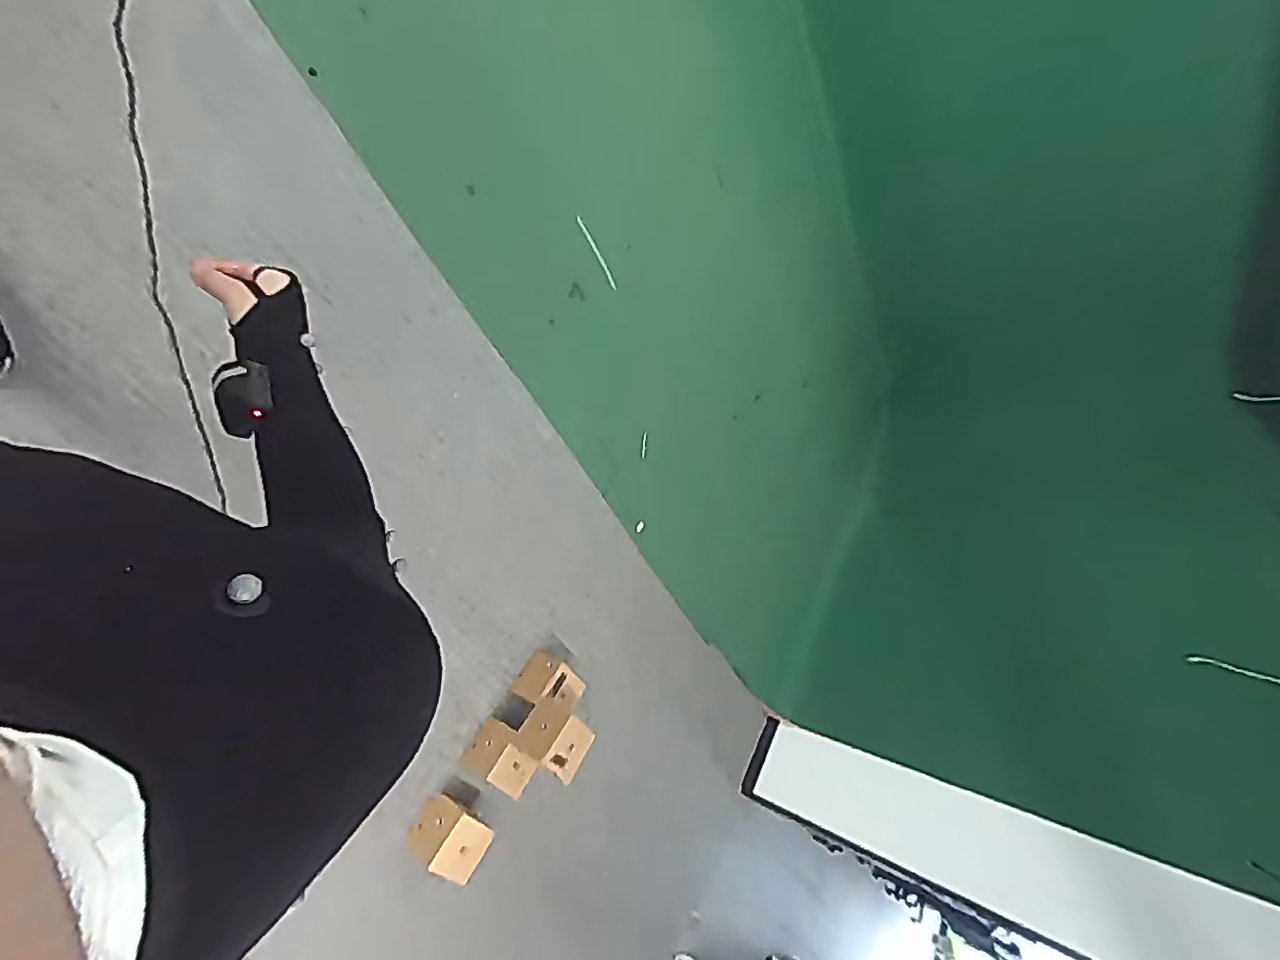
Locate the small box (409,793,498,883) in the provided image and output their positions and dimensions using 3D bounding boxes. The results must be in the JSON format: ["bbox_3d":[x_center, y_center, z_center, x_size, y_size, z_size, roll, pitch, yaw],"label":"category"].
[{"bbox_3d":[-0.605,1.145,1.743,0.168,0.176,0.179,-55,130,-30],"label":"small box"}]

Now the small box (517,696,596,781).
[{"bbox_3d":[-0.290,0.868,1.826,0.179,0.176,0.168,-54,129,-31],"label":"small box"}]
